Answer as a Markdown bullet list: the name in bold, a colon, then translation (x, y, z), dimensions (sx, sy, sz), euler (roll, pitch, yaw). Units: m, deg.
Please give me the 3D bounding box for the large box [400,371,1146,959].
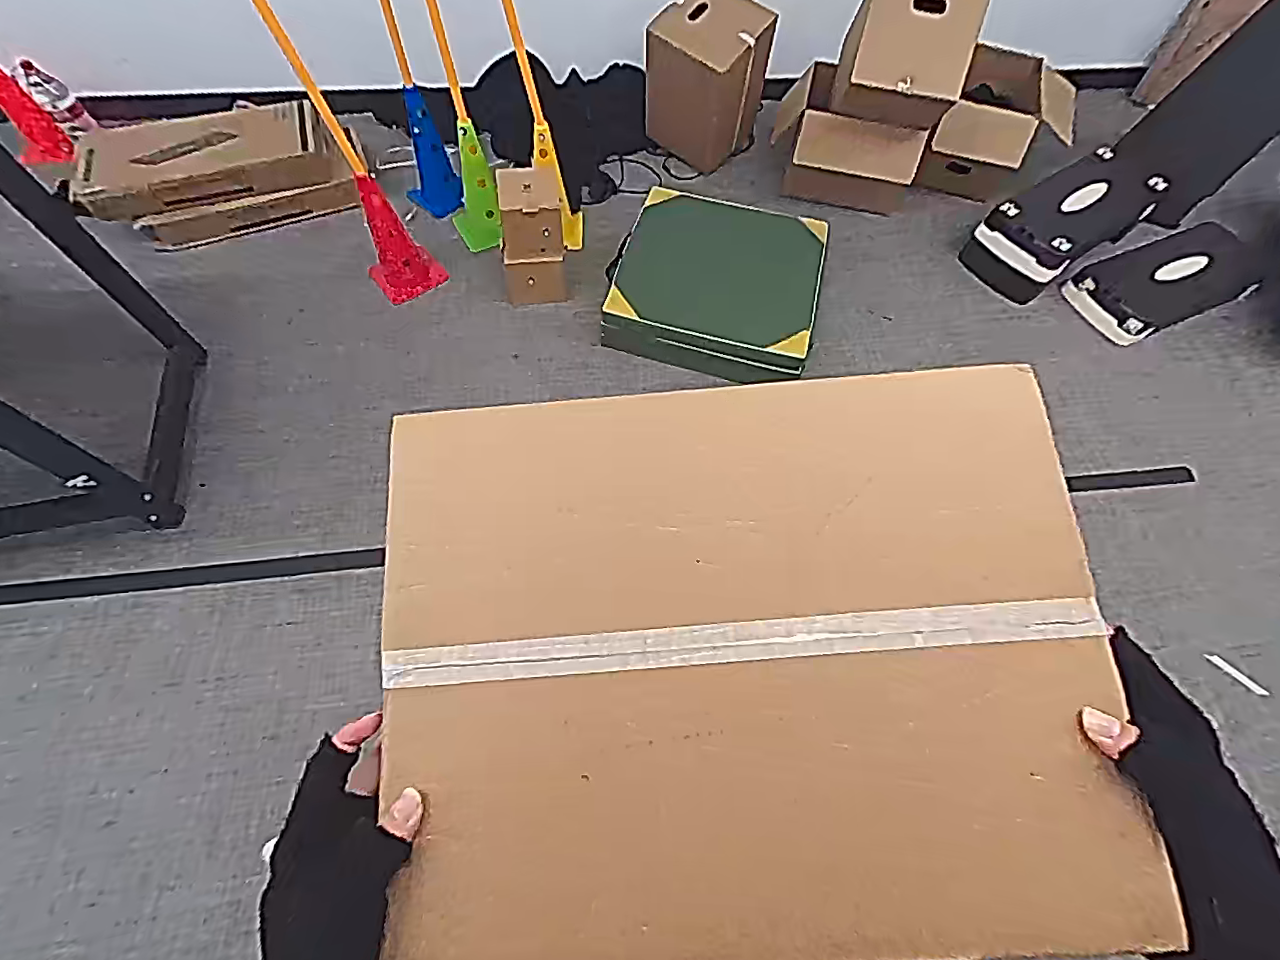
- **large box**: translation (0.061, 0.131, 0.465), dimensions (0.408, 0.320, 0.320), euler (-5, 77, 2)
